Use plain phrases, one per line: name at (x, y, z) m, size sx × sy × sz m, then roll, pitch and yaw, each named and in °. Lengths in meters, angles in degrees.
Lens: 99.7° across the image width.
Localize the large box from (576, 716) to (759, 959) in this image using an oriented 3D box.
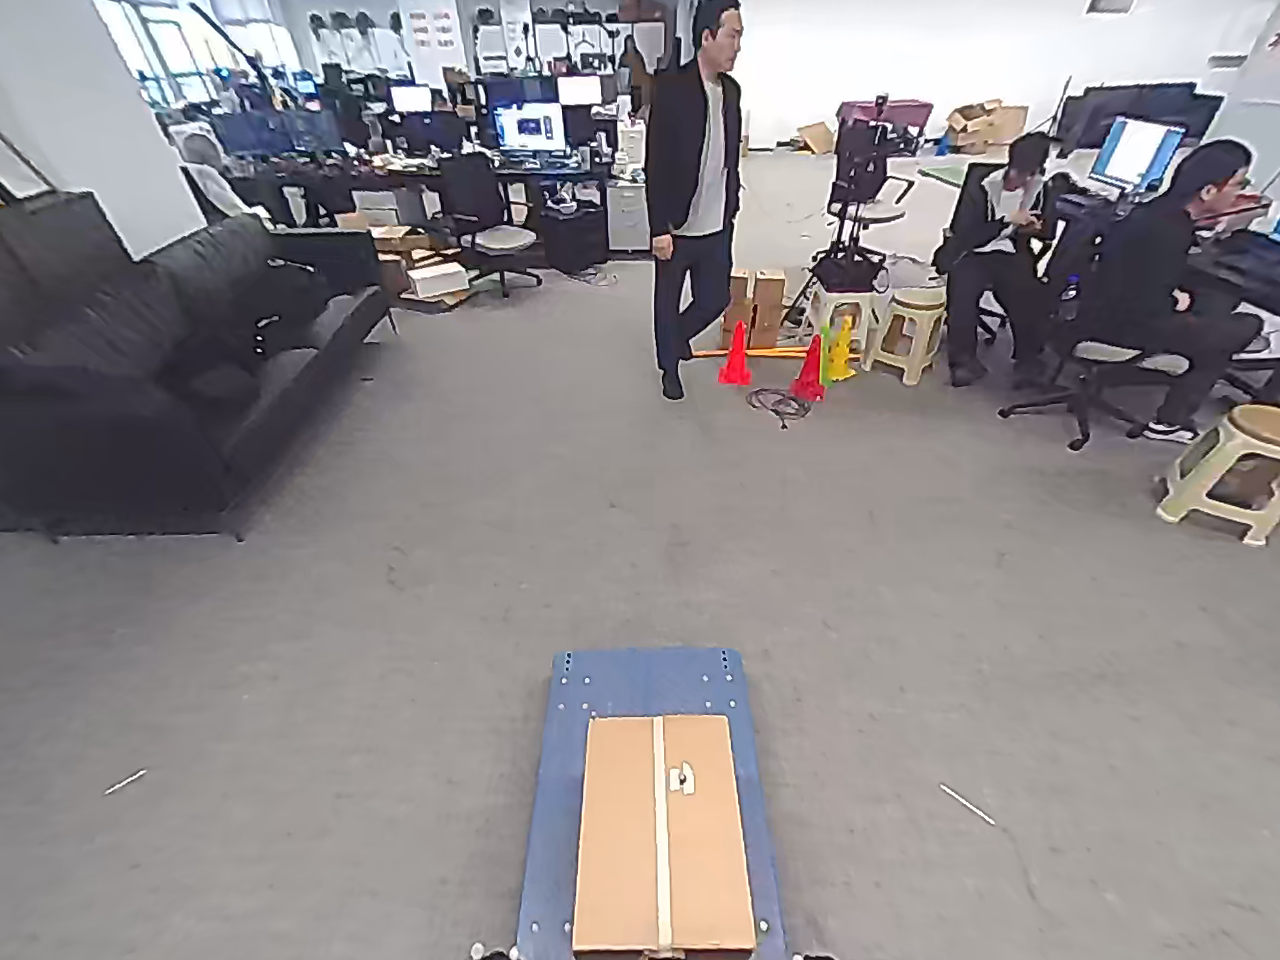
large box at (0.048, 0.768, 1.138) m, size 0.320 × 0.320 × 0.408 m, roll -1°, pitch 39°, yaw 0°
